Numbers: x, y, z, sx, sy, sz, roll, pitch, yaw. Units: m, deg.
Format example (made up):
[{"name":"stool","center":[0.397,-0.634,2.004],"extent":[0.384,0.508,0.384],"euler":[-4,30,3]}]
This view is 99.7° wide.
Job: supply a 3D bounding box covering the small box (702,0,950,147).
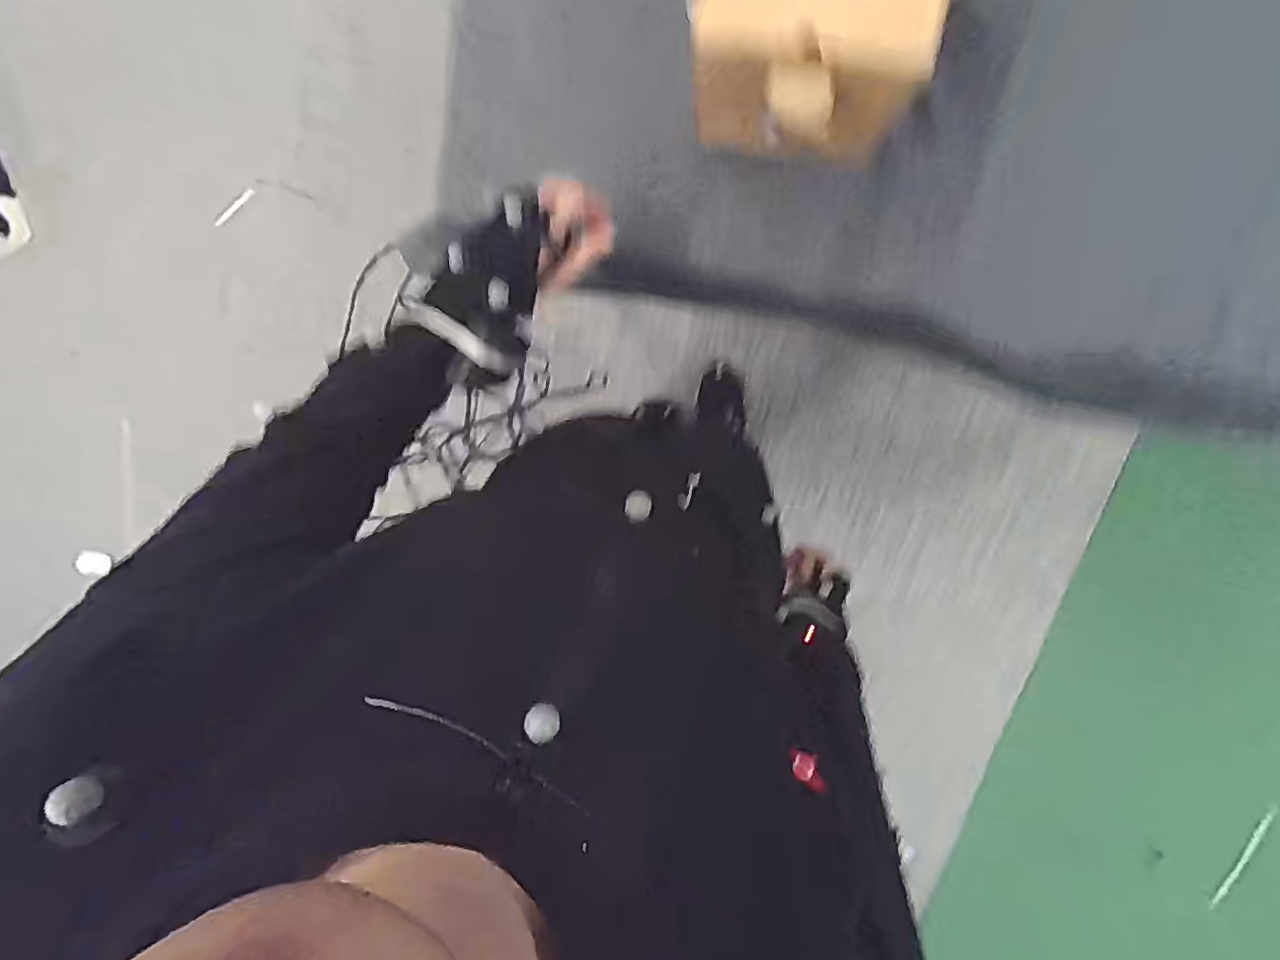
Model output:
[{"name":"small box","center":[0.143,-0.400,0.431],"extent":[0.168,0.176,0.179],"euler":[10,104,5]}]
